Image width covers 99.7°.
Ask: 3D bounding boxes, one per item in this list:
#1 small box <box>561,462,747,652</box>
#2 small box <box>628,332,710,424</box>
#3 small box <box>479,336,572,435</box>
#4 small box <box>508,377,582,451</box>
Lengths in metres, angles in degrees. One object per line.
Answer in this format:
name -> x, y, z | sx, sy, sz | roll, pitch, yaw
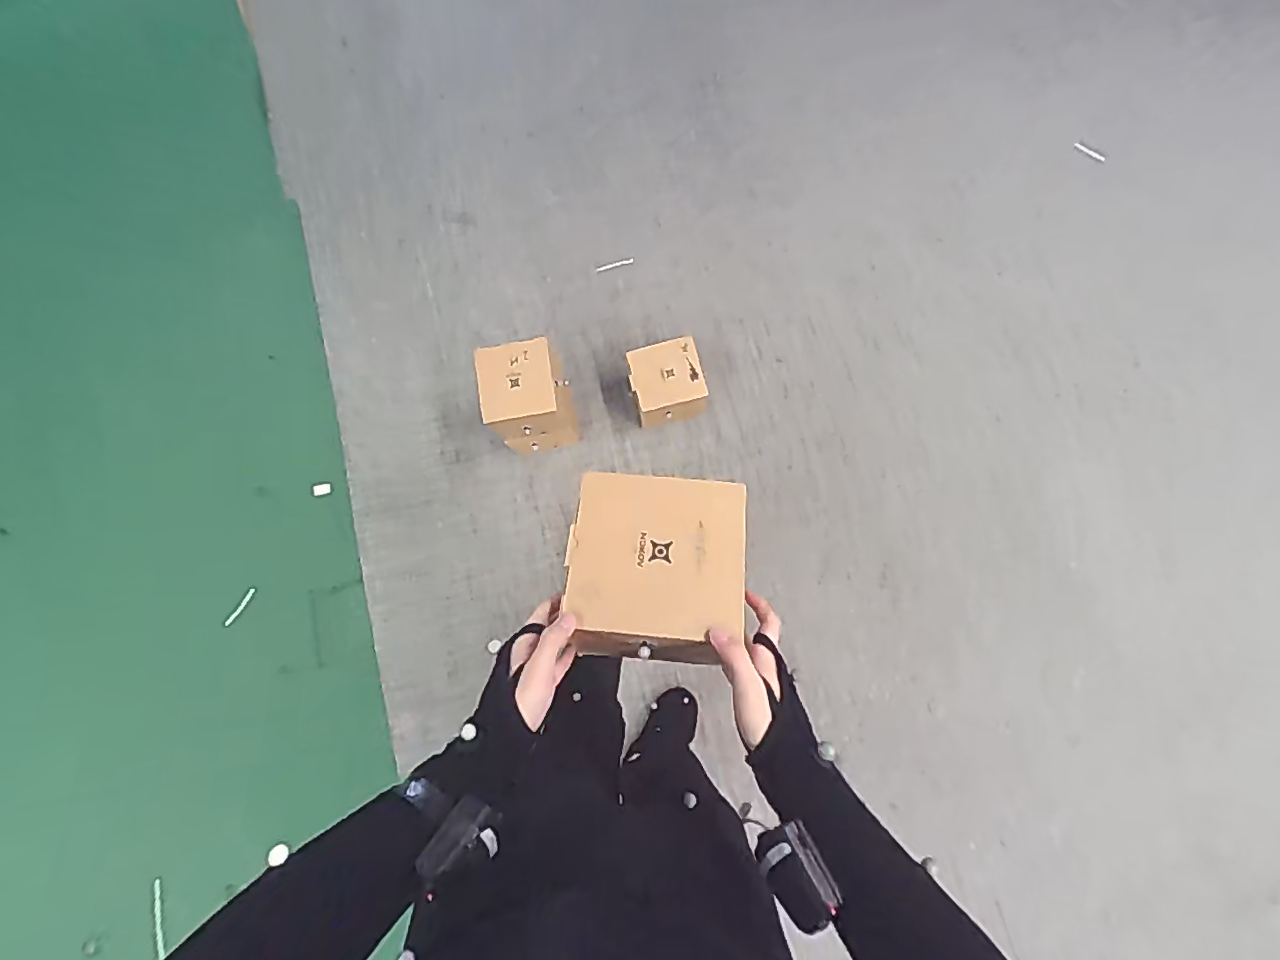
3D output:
small box -> 0.021, 0.095, 0.616 | 0.179, 0.176, 0.168 | 5, 65, 4
small box -> 0.078, -0.260, 1.425 | 0.179, 0.176, 0.168 | -15, 81, 2
small box -> -0.262, -0.211, 1.269 | 0.168, 0.176, 0.179 | -10, 80, 1
small box -> -0.257, -0.184, 1.432 | 0.168, 0.176, 0.179 | -12, 80, 1
